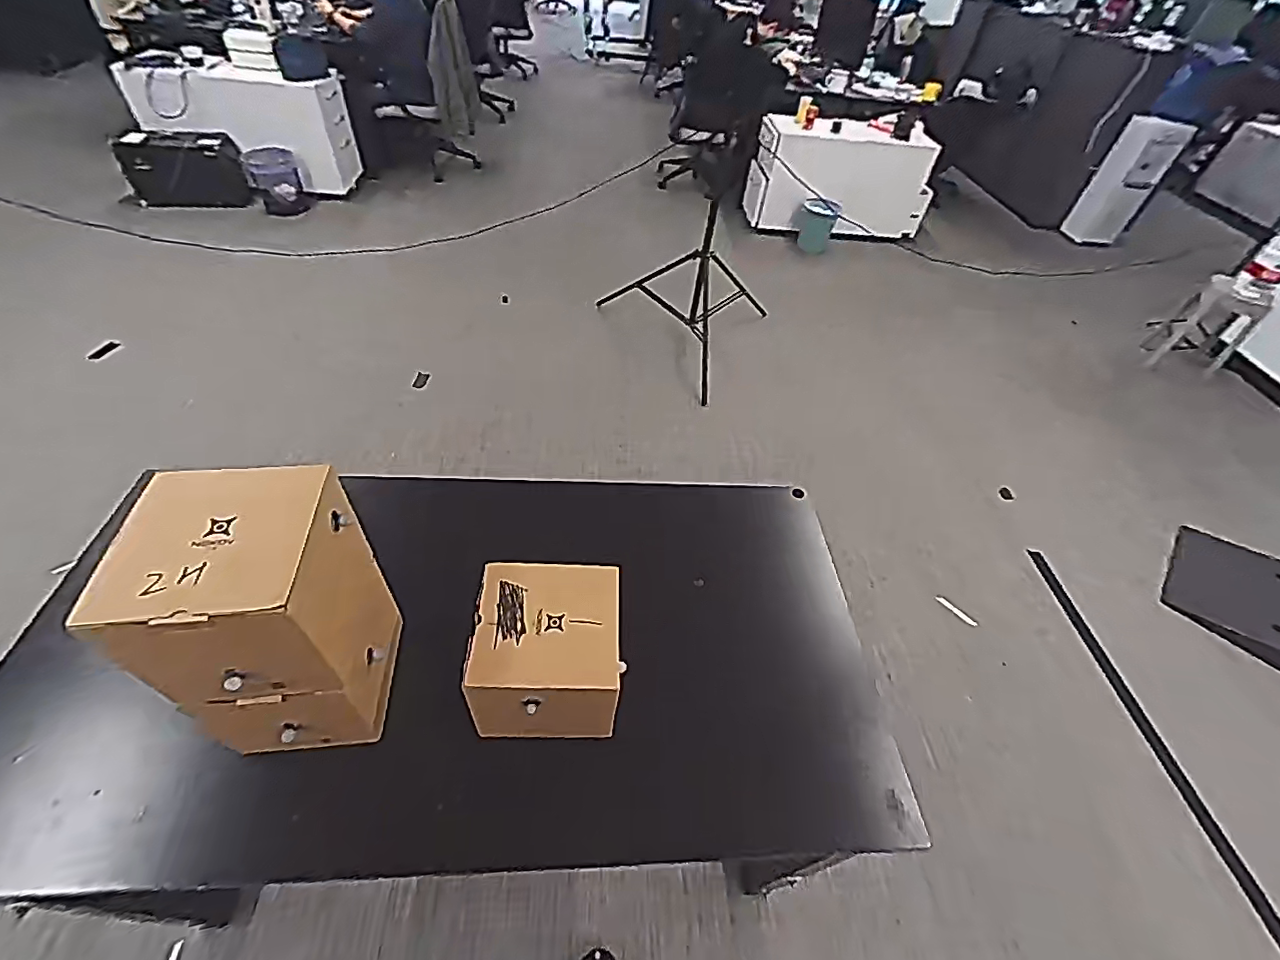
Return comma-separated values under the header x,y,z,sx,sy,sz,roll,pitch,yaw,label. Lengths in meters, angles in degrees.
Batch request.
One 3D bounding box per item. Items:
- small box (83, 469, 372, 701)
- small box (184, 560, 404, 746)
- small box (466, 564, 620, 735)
x,y,z,sx,sy,sz,roll,pitch,yaw,label
-0.401,0.109,0.573,0.168,0.176,0.179,-3,48,-9,small box
-0.415,0.225,0.691,0.168,0.176,0.179,-2,48,-8,small box
-0.118,0.228,0.721,0.179,0.176,0.168,3,47,-5,small box
